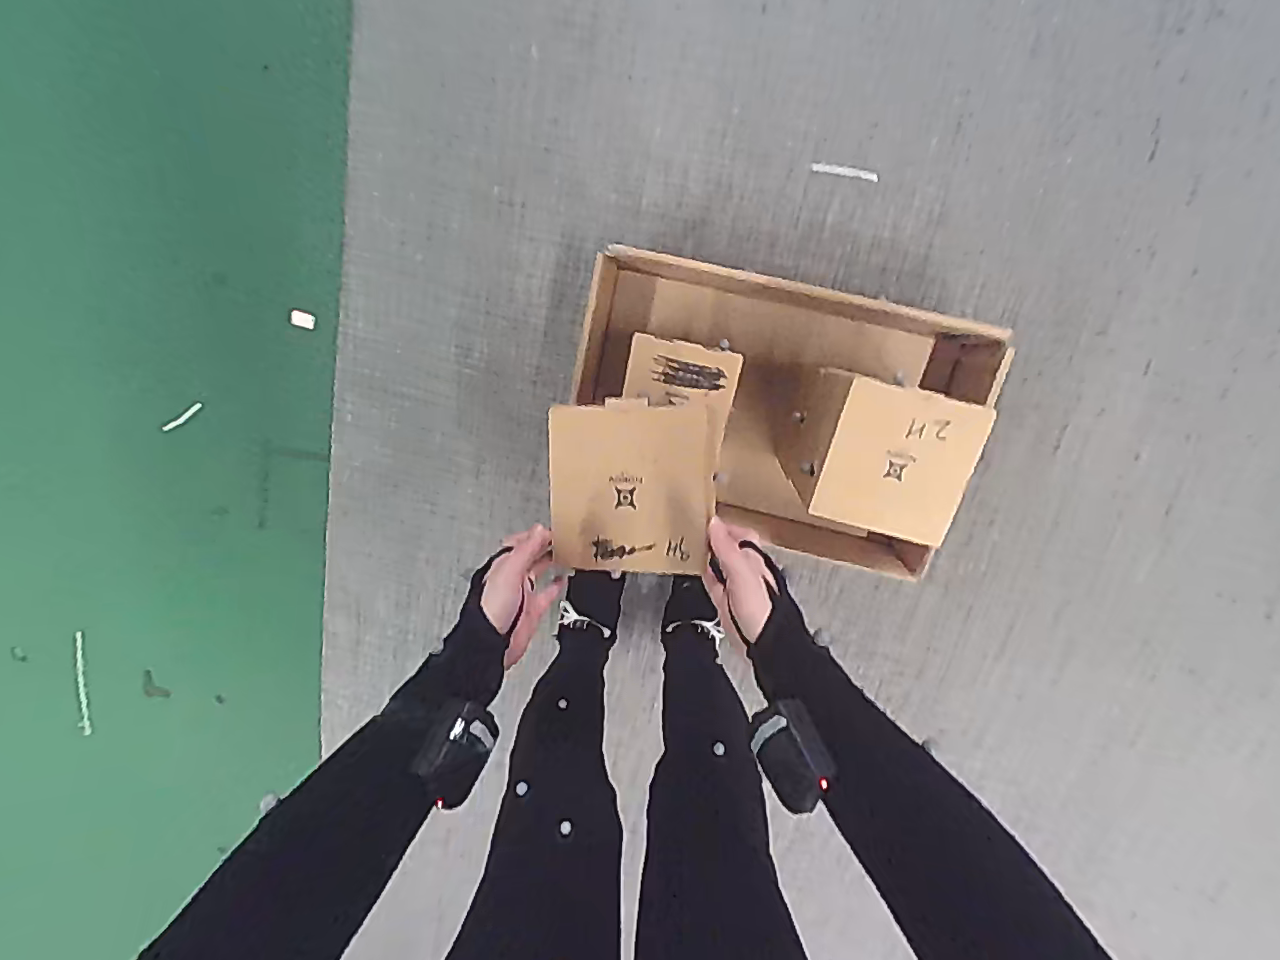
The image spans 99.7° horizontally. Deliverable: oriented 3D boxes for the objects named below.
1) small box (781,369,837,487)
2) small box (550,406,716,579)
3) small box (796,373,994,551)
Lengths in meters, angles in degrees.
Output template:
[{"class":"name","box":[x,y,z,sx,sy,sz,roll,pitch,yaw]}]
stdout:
[{"class":"small box","box":[0.335,-0.074,0.875,0.168,0.176,0.179,15,106,4]},{"class":"small box","box":[0.000,0.006,0.633,0.168,0.176,0.179,1,96,11]},{"class":"small box","box":[0.315,-0.034,0.715,0.168,0.176,0.179,15,106,5]}]
